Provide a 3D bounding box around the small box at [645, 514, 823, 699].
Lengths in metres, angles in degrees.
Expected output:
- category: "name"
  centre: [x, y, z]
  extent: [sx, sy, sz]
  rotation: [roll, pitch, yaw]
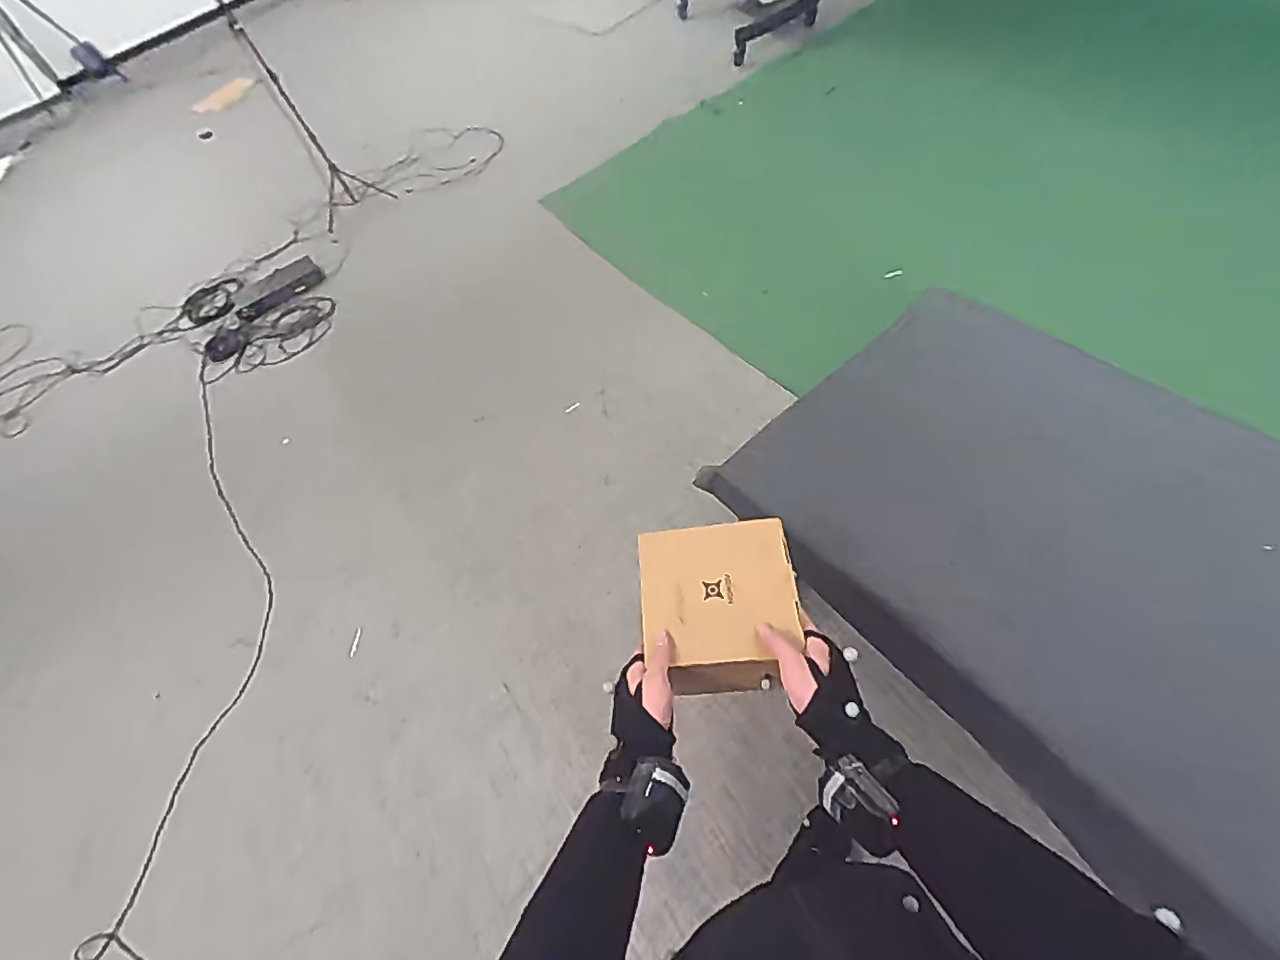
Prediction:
- category: "small box"
  centre: [0.106, 0.161, 0.663]
  extent: [0.179, 0.176, 0.168]
  rotation: [-8, 56, 5]
